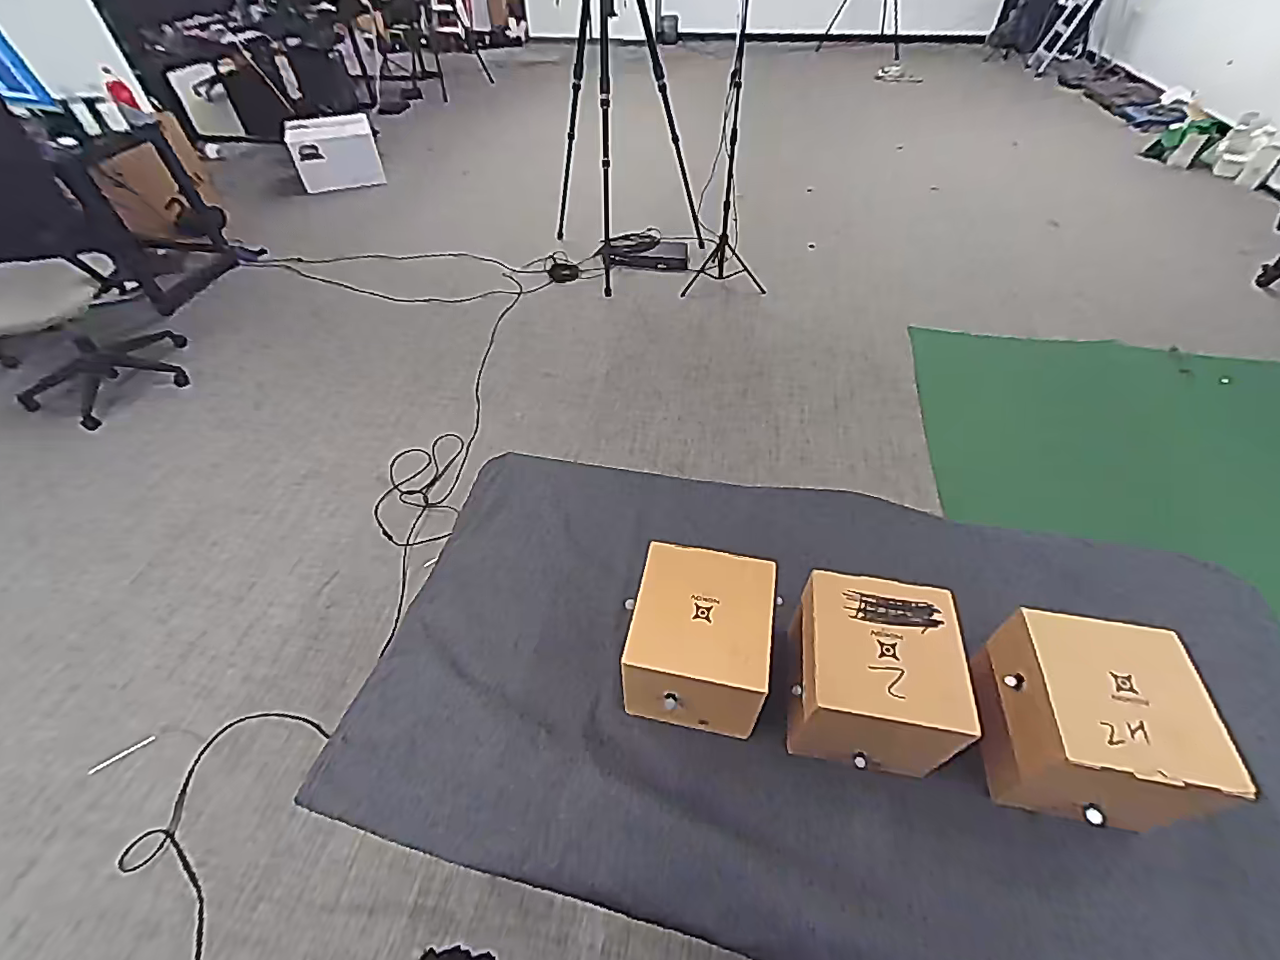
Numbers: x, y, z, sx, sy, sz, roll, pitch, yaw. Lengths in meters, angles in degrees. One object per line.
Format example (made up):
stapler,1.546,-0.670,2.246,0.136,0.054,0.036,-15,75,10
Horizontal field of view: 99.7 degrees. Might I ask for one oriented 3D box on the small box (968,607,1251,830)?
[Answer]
small box,0.516,0.279,0.635,0.168,0.176,0.179,7,48,9
